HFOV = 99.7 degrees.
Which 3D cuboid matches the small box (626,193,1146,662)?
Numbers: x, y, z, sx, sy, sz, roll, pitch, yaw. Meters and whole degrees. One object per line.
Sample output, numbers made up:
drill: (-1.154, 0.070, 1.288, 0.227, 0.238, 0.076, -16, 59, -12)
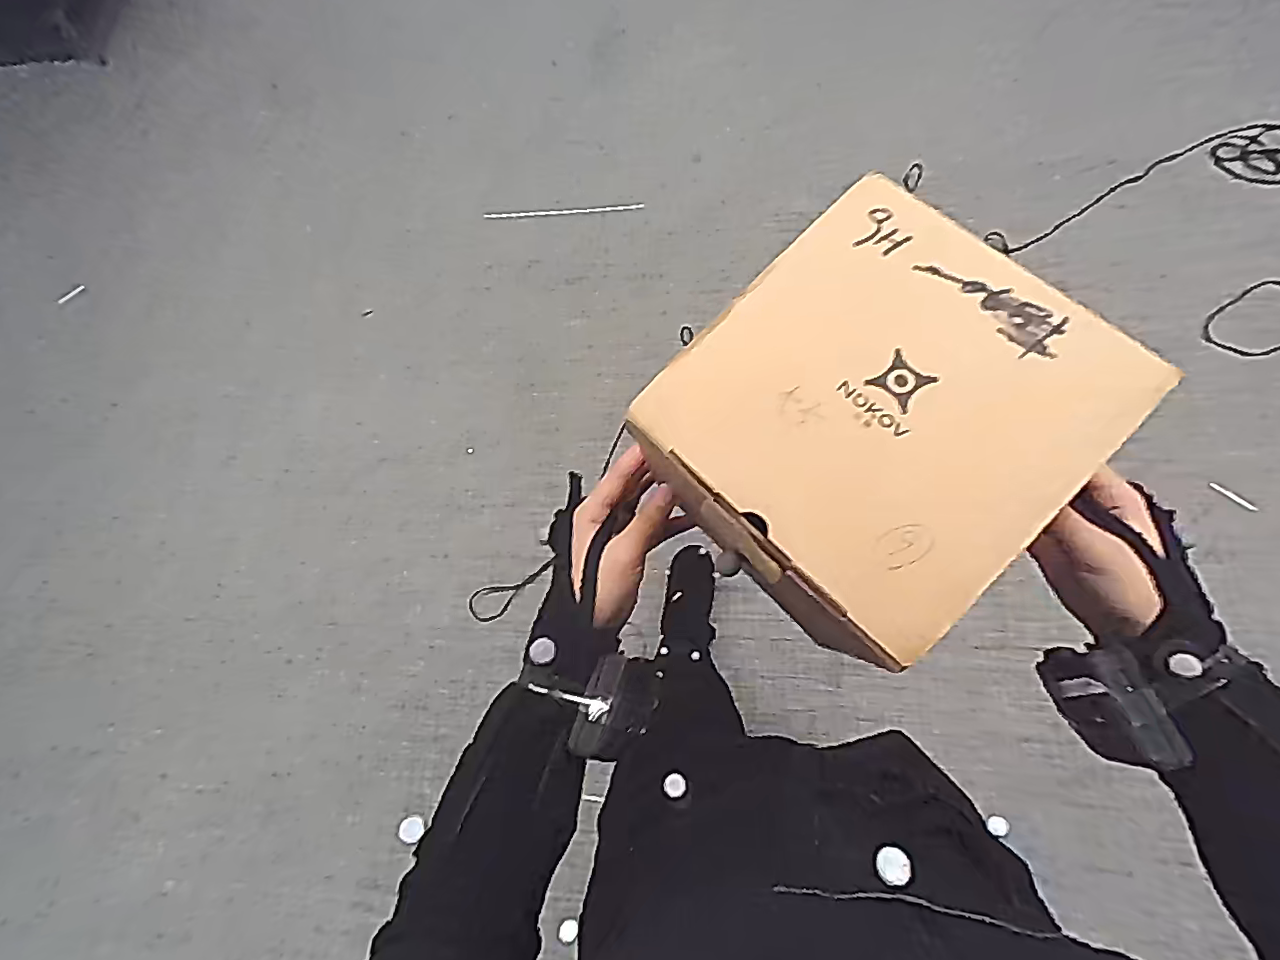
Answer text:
small box: (0.120, -0.017, 0.330, 0.179, 0.176, 0.168, -44, 75, -3)
